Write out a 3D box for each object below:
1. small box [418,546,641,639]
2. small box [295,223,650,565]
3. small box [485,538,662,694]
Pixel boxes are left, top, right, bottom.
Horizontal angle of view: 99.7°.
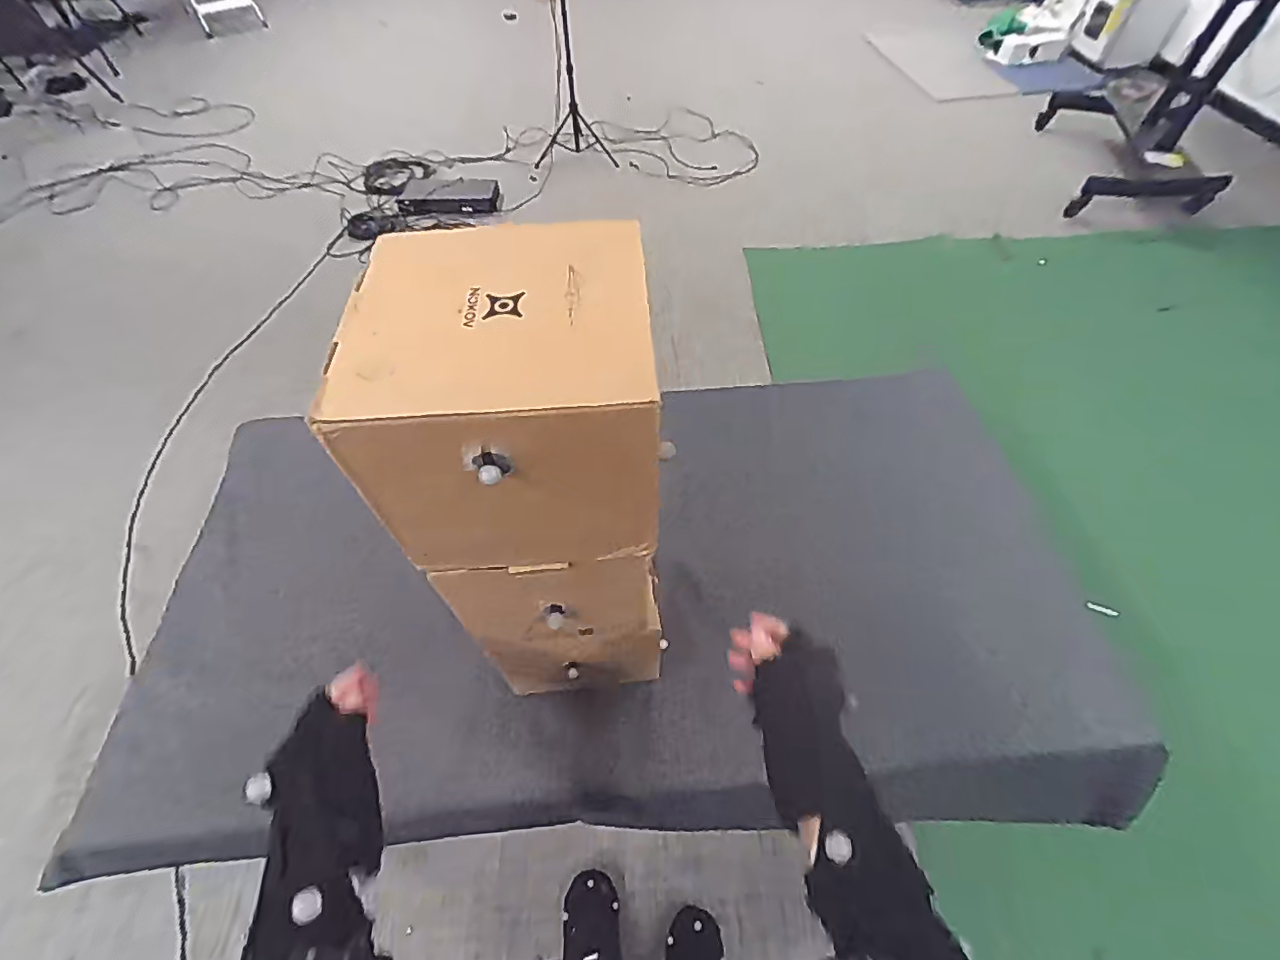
[{"bbox_3d":[-0.088,0.040,0.508,0.168,0.176,0.179,-5,55,-3],"label":"small box"},{"bbox_3d":[-0.085,-0.051,0.372,0.179,0.176,0.168,-3,56,-2],"label":"small box"},{"bbox_3d":[-0.078,0.139,0.638,0.179,0.176,0.168,-7,55,-6],"label":"small box"}]
